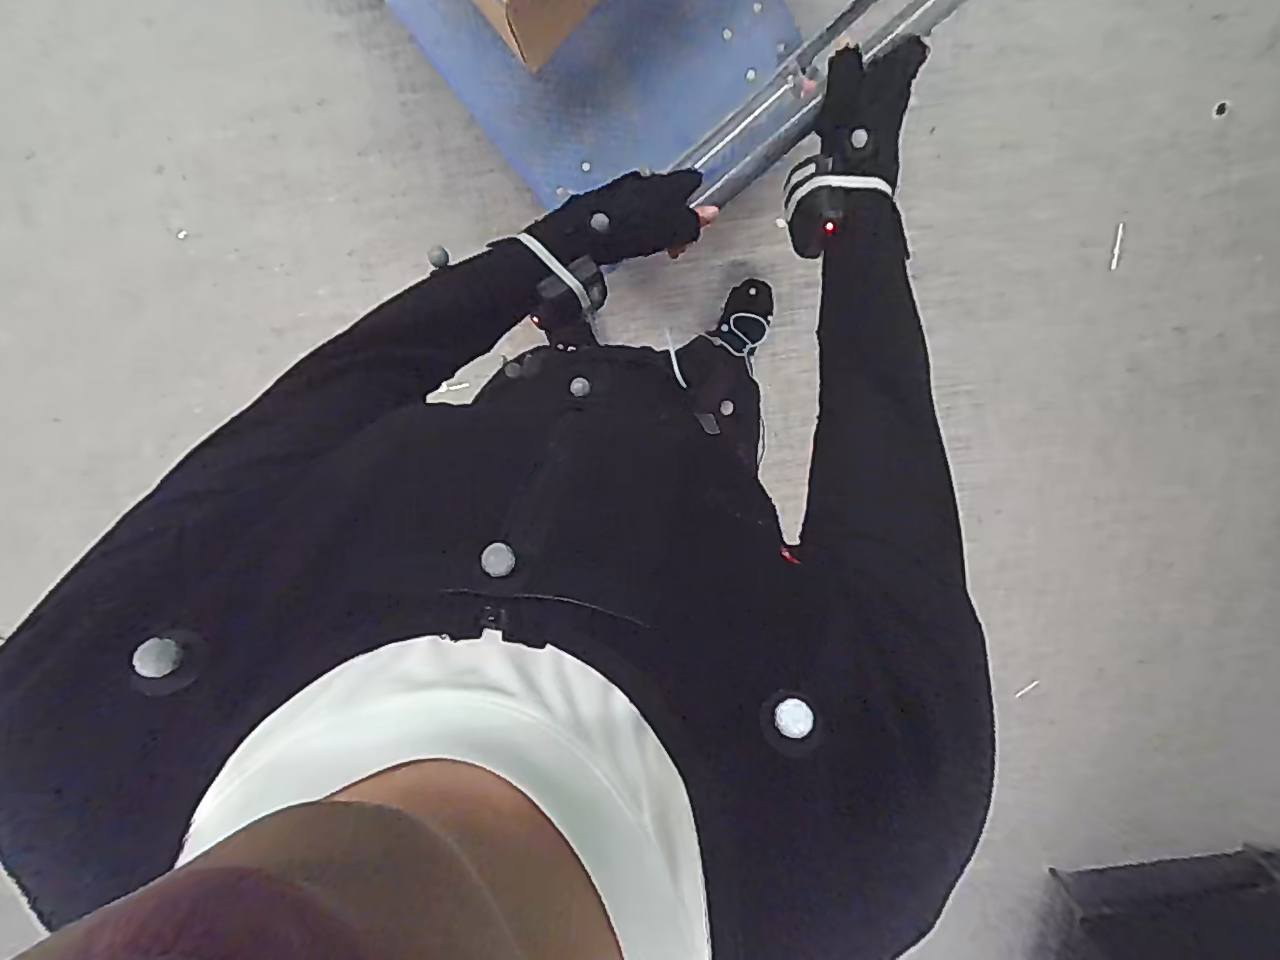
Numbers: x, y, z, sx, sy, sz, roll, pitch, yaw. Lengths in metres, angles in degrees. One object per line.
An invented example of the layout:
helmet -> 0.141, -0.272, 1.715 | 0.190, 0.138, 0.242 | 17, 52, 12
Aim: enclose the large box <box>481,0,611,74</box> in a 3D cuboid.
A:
large box -> -0.133, -0.943, 0.811 | 0.408, 0.320, 0.320 | -40, 108, 13
